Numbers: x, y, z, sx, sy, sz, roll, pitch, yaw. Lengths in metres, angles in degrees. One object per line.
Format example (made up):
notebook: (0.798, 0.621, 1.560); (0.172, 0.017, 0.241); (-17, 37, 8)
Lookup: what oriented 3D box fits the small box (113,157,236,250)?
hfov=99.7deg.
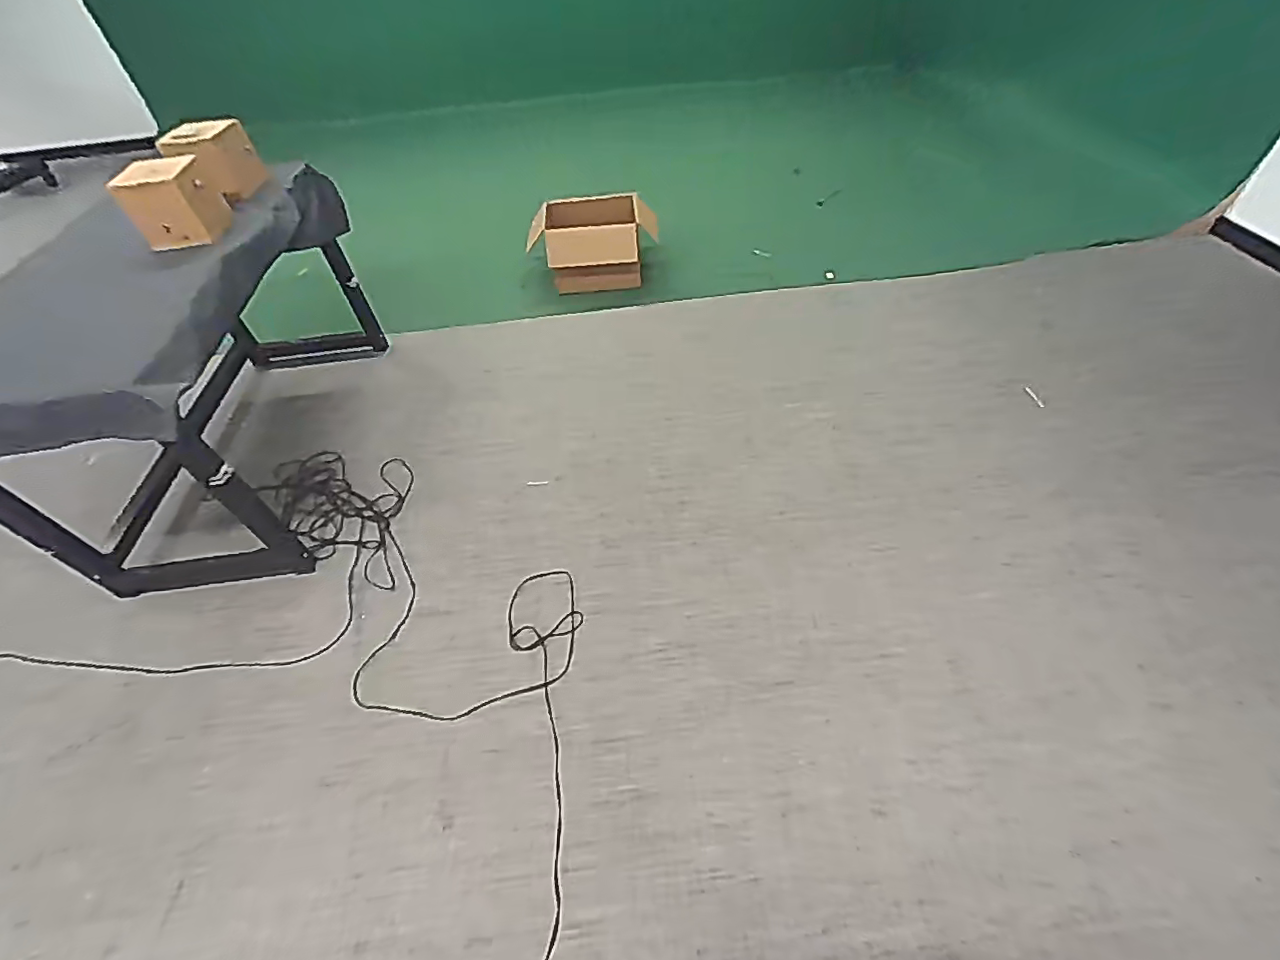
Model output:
small box: (-1.246, -0.749, 1.467); (0.168, 0.176, 0.179); (-9, 50, -3)
